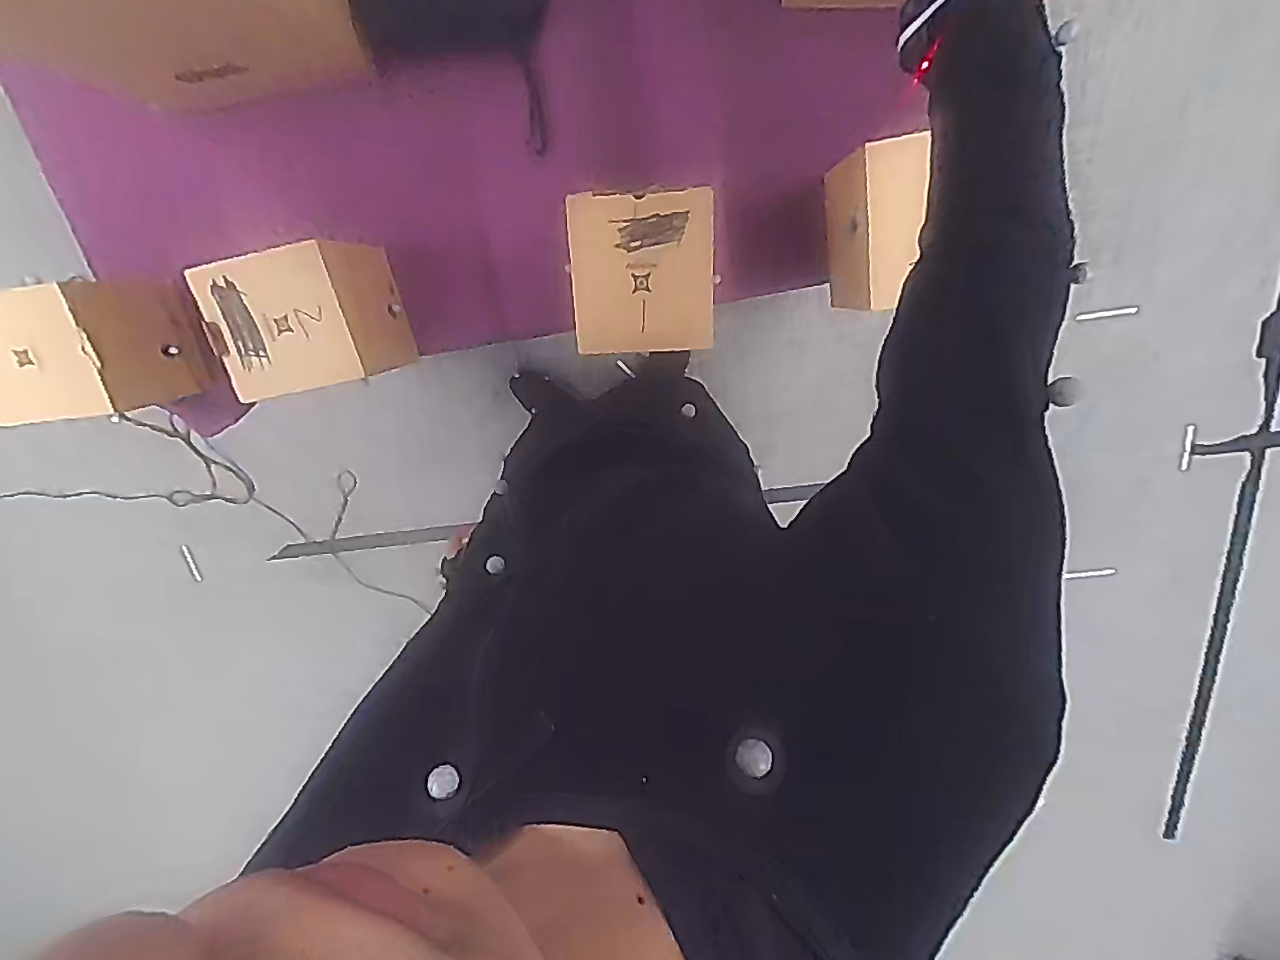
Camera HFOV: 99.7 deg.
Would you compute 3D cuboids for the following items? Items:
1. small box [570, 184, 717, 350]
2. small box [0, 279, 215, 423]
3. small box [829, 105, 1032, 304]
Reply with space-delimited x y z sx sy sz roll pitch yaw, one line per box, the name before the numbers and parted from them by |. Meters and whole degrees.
small box | 0.008 -0.267 0.696 0.168 0.176 0.179 -1 111 3
small box | -0.769 -0.185 0.765 0.179 0.176 0.168 -7 110 4
small box | 0.336 -0.317 0.659 0.168 0.176 0.179 -8 109 7
